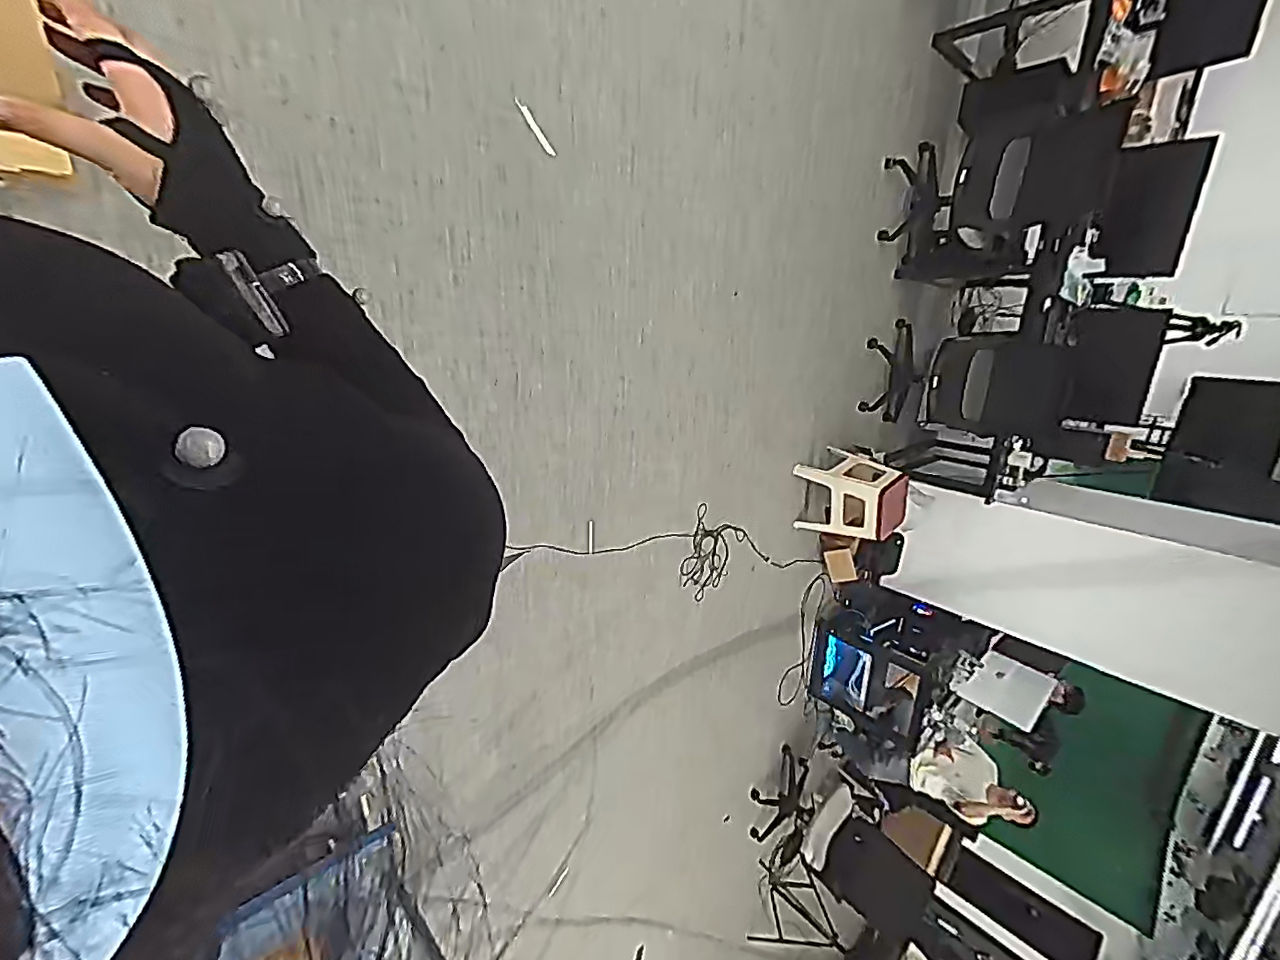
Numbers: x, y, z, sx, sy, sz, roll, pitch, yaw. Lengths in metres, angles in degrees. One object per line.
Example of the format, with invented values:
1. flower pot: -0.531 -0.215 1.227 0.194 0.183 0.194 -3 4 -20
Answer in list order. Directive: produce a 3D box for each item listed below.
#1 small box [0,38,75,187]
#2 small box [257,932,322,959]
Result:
1. small box: -1.036 -0.584 0.857 0.168 0.176 0.179 -15 114 -41
2. small box: -0.882 1.300 1.347 0.168 0.176 0.179 -10 110 -43
